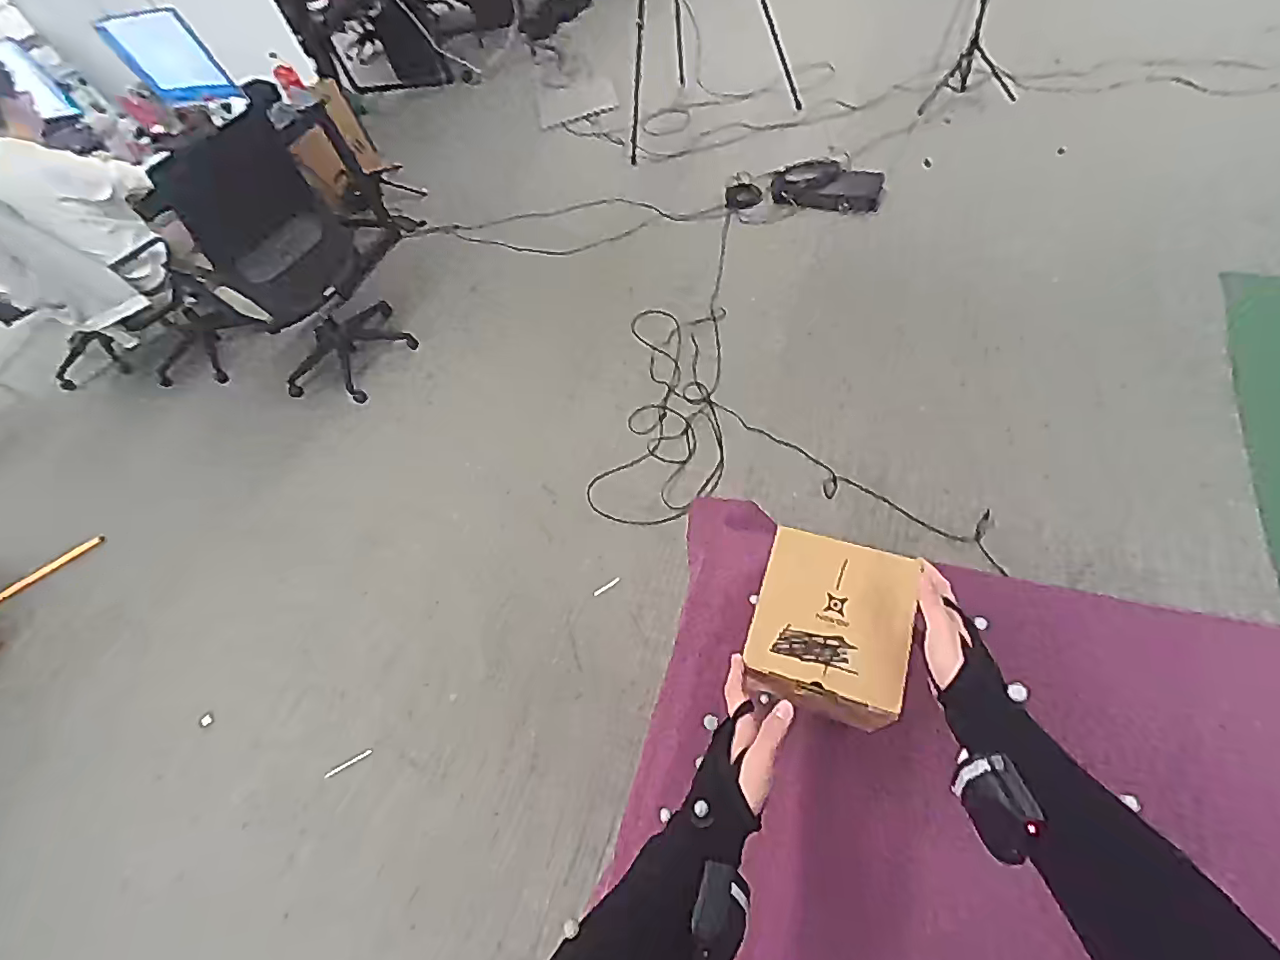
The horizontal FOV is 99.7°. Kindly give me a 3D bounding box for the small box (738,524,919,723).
[{"bbox_3d":[0.228,0.184,0.675,0.168,0.176,0.179,14,64,19],"label":"small box"}]
